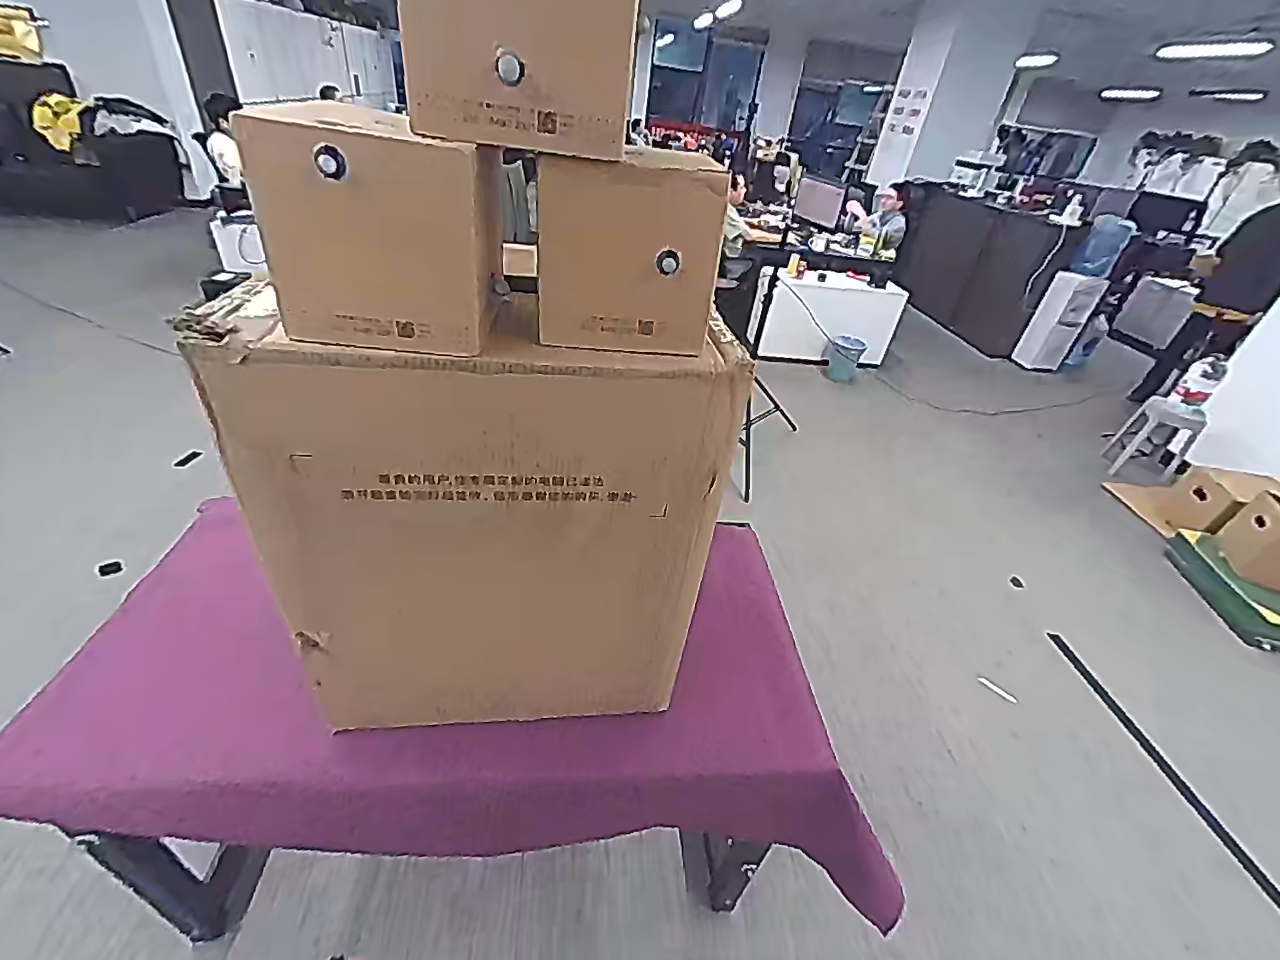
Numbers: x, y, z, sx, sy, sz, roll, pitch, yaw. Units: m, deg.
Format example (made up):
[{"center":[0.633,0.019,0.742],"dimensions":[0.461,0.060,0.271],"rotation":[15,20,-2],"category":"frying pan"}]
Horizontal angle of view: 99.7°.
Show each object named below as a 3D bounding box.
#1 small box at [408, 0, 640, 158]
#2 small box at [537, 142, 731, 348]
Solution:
[{"center":[-0.088,-0.379,0.445],"dimensions":[0.168,0.176,0.179],"rotation":[3,36,-8],"category":"small box"},{"center":[-0.013,-0.247,0.560],"dimensions":[0.168,0.176,0.179],"rotation":[3,34,-6],"category":"small box"}]
